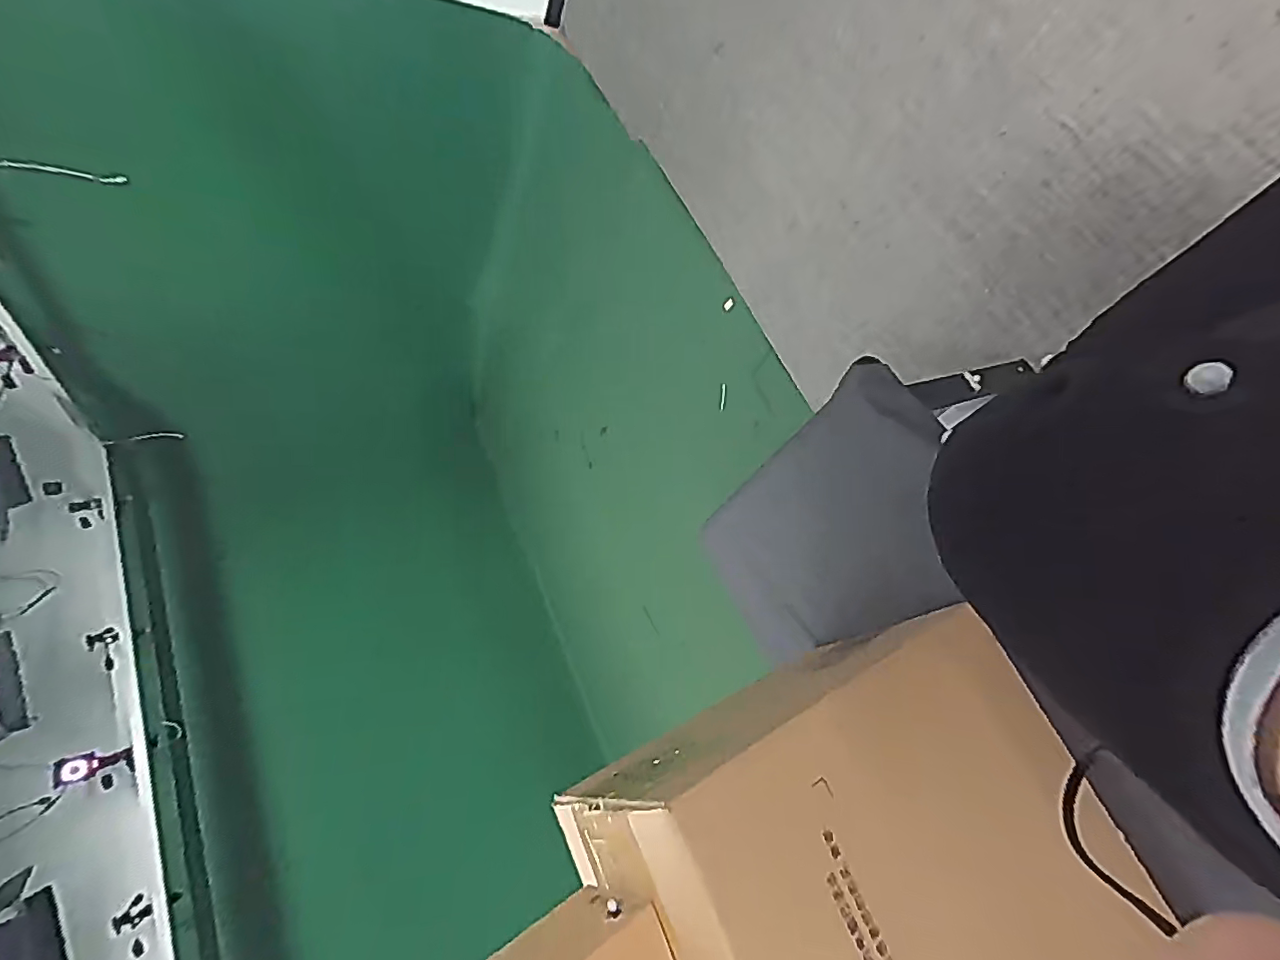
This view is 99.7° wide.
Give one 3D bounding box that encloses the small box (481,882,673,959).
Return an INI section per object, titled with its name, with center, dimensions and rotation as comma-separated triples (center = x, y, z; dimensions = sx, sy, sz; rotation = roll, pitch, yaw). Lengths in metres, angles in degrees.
[small box]
center = -0.058, 0.568, 0.569
dimensions = 0.168, 0.176, 0.179
rotation = -43, 67, 48
